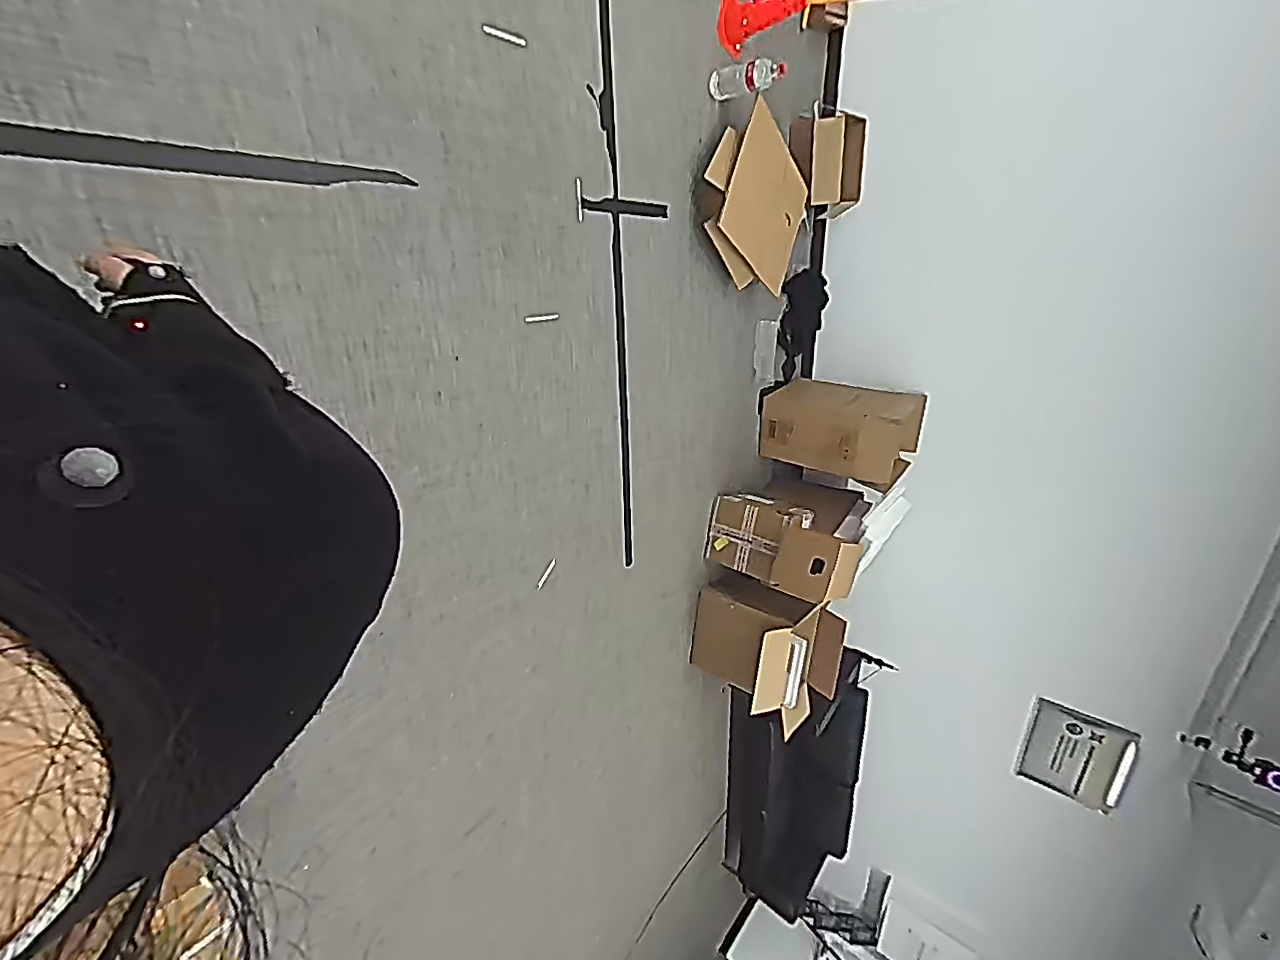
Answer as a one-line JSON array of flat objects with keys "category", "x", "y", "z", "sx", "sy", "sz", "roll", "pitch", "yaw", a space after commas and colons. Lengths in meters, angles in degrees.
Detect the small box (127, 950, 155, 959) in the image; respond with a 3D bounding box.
[{"category": "small box", "x": -0.989, "y": 1.056, "z": 1.016, "sx": 0.179, "sy": 0.176, "sz": 0.168, "roll": -27, "pitch": 121, "yaw": -44}]
